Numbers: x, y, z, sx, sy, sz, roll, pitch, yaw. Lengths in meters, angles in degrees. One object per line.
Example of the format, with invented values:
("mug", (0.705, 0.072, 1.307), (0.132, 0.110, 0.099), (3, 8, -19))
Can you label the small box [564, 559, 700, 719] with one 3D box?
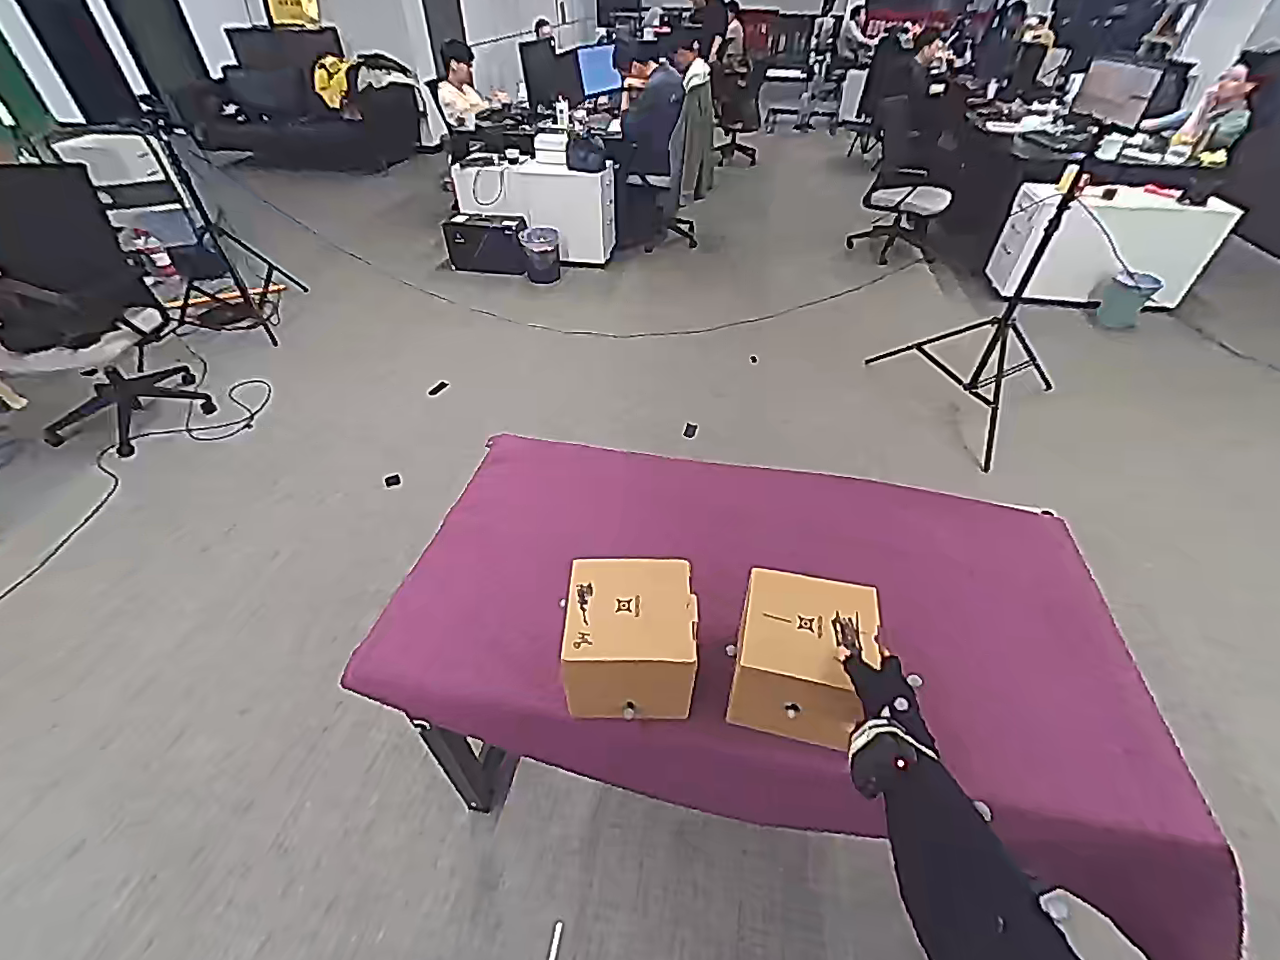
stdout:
("small box", (-0.012, 0.236, 0.801), (0.179, 0.176, 0.168), (1, 42, -1))

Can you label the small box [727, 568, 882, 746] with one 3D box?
("small box", (0.231, 0.256, 0.779), (0.179, 0.176, 0.168), (10, 42, 12))
